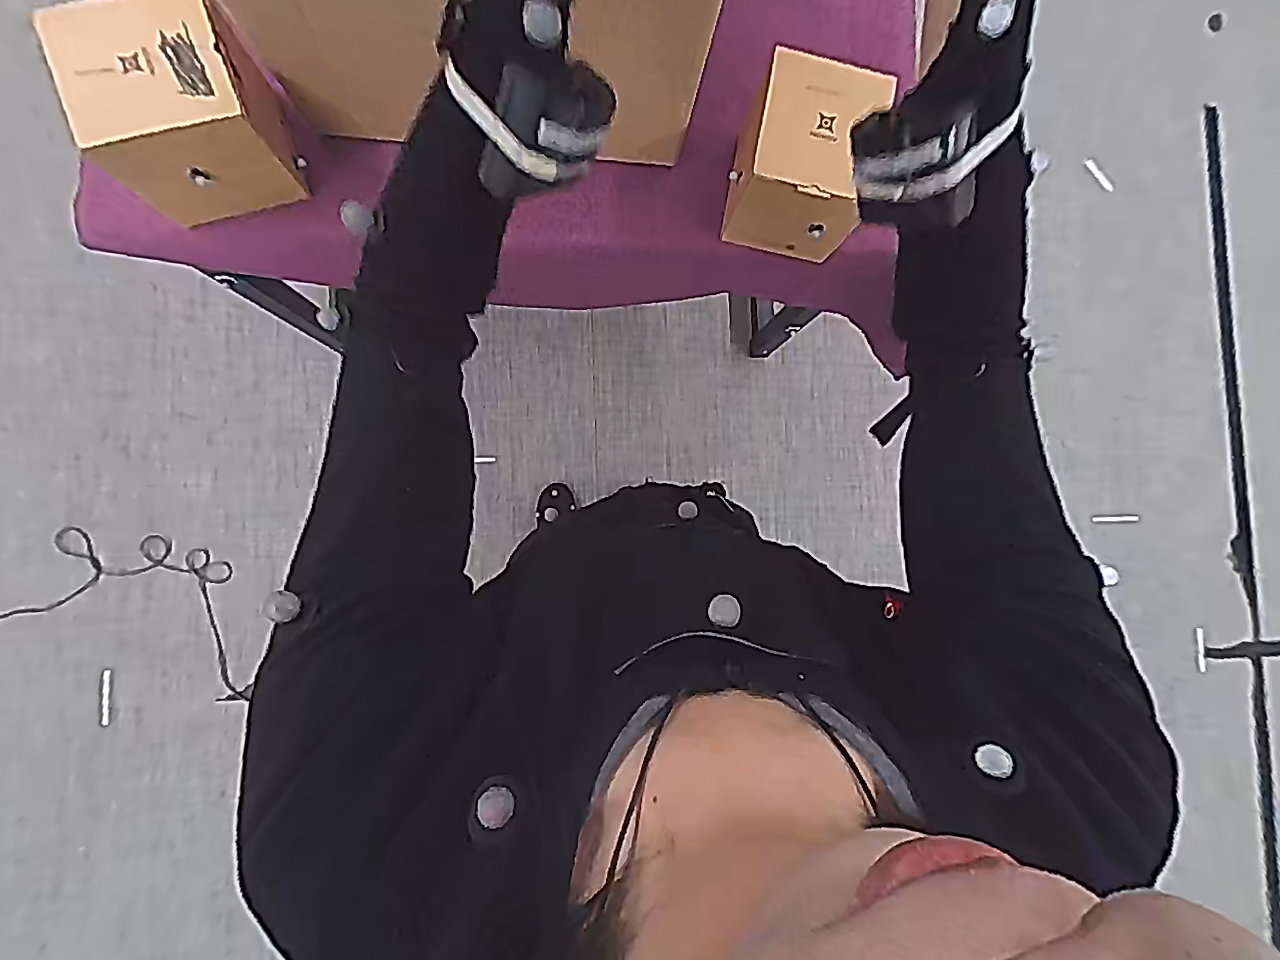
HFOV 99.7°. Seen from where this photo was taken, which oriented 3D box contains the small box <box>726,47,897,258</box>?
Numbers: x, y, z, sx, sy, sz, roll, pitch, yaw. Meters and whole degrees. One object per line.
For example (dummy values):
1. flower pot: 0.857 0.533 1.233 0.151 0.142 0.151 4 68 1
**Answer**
1. small box: 0.227 -0.442 0.760 0.168 0.176 0.179 11 85 -6
